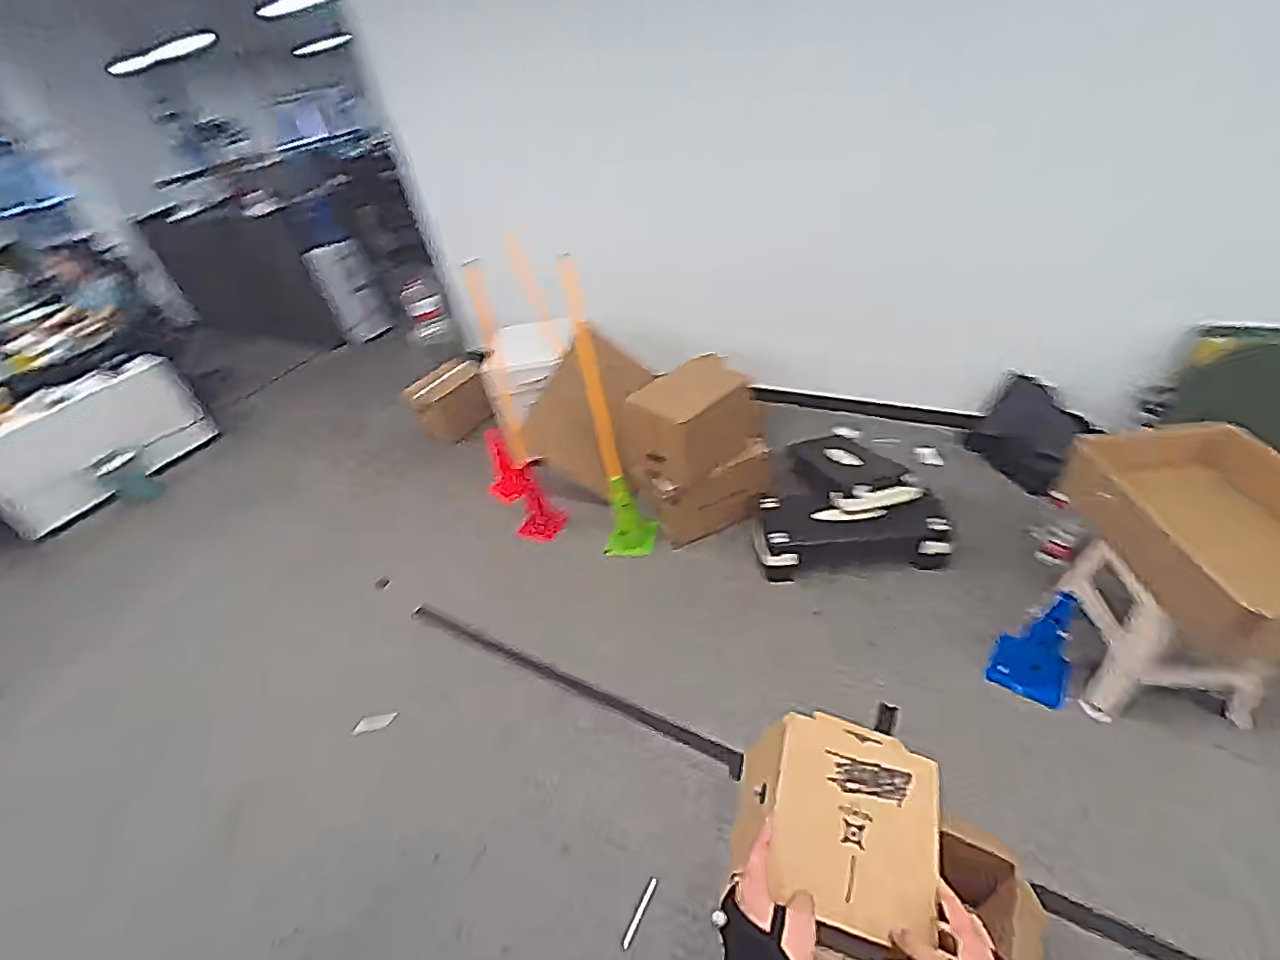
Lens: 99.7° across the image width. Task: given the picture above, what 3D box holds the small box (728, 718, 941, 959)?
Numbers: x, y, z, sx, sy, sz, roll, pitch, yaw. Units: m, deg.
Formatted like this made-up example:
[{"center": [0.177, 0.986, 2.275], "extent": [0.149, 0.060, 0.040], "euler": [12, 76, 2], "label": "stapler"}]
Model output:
[{"center": [0.205, 0.402, 0.603], "extent": [0.168, 0.176, 0.179], "euler": [17, 50, 6], "label": "small box"}]
